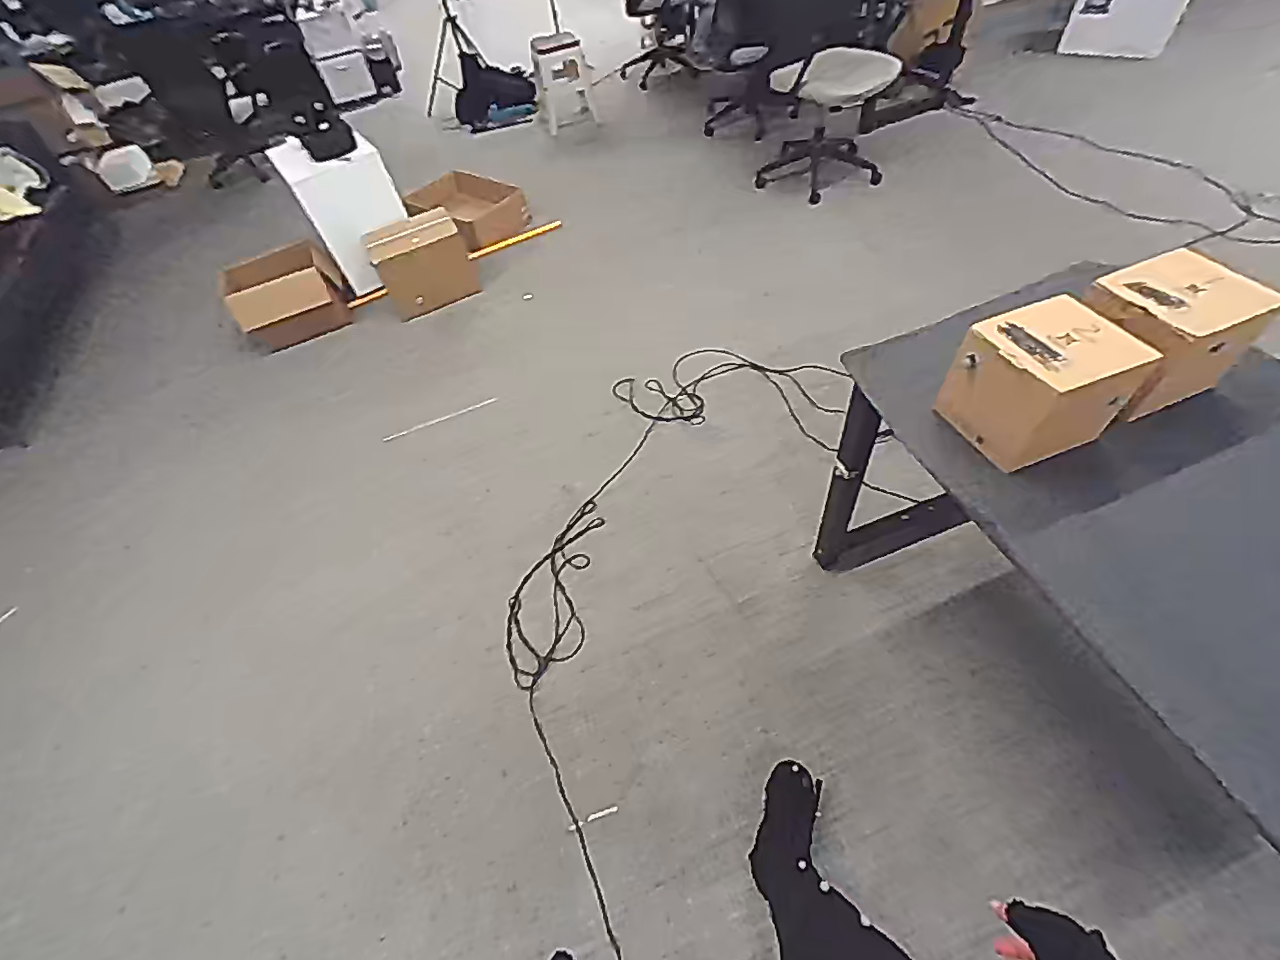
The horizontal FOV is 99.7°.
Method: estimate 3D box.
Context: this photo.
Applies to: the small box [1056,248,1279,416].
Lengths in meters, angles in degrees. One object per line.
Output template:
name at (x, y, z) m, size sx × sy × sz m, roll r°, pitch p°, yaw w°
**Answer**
small box at (0.810, -0.228, 0.854) m, size 0.179 × 0.176 × 0.168 m, roll -21°, pitch 53°, yaw -8°
